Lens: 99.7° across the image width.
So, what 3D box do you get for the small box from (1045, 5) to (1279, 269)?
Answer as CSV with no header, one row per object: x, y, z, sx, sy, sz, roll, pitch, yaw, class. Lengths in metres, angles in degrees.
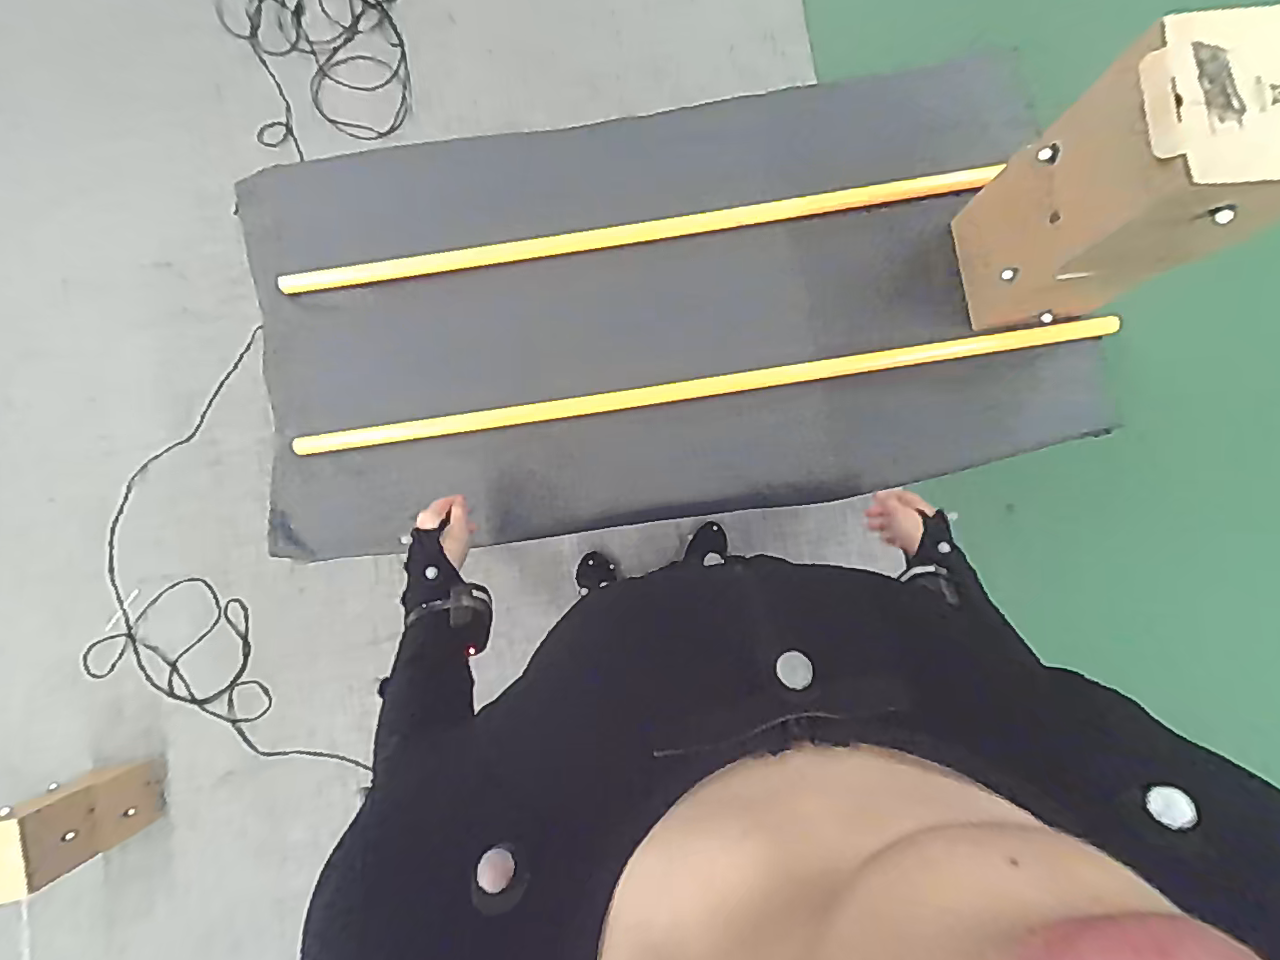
0.559,-0.334,0.557,0.179,0.176,0.168,-4,85,0,small box

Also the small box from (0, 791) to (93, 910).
-1.378,0.826,1.203,0.179,0.176,0.168,-14,85,0,small box

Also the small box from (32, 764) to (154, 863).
-1.383,0.847,1.367,0.179,0.176,0.168,-12,85,0,small box
